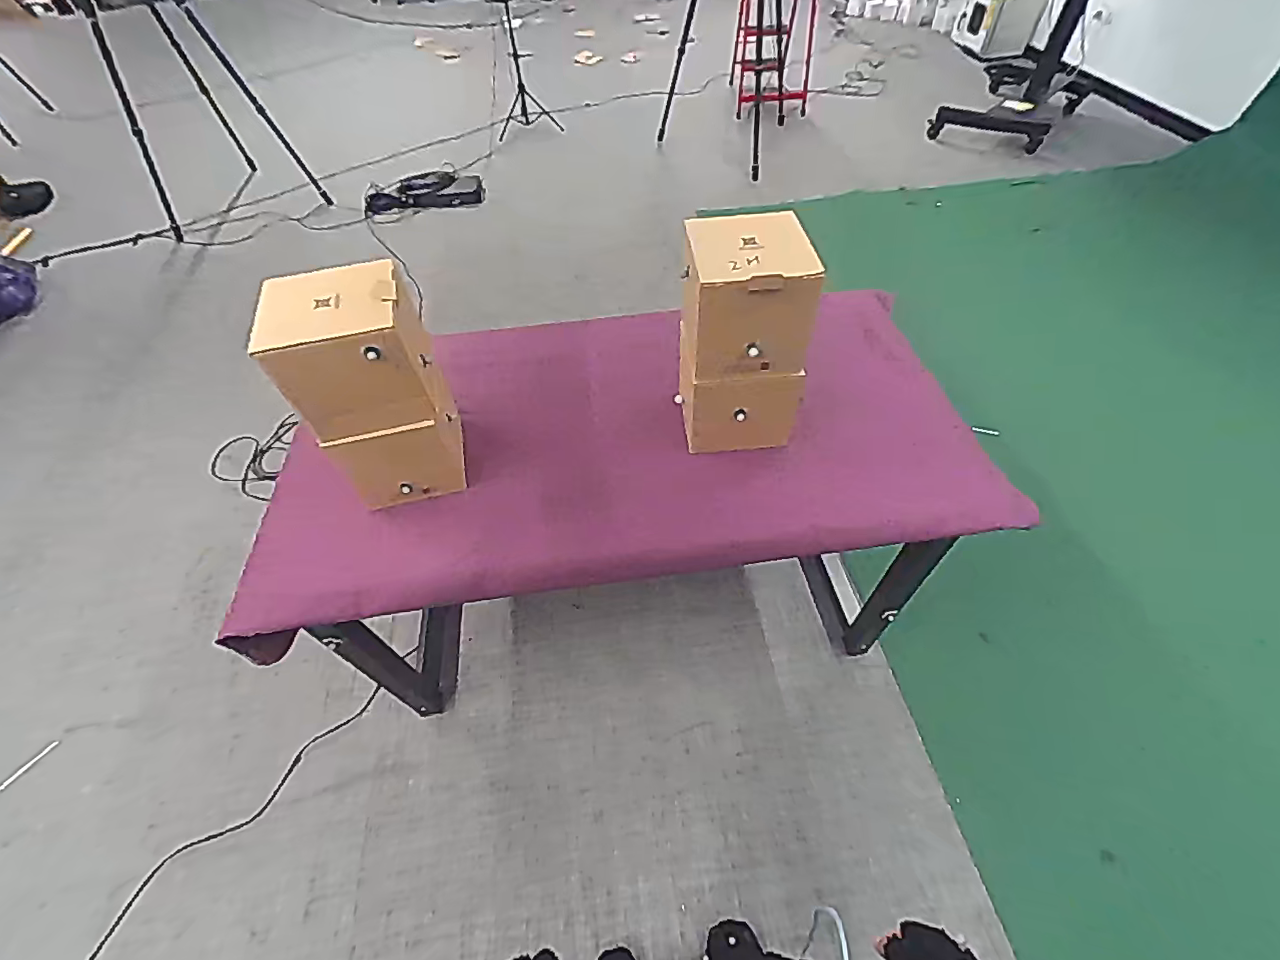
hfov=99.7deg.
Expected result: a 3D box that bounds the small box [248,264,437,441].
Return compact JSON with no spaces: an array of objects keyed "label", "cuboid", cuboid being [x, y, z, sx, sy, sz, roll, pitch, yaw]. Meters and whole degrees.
[{"label":"small box","cuboid":[-0.410,-0.178,0.777,0.179,0.176,0.168,-14,53,-8]}]

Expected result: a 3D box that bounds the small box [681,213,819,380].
[{"label":"small box","cuboid":[0.151,-0.275,0.816,0.168,0.176,0.179,-5,52,0]}]

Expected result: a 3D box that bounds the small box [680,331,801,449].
[{"label":"small box","cuboid":[0.162,-0.169,0.938,0.179,0.176,0.168,-3,50,2]}]
